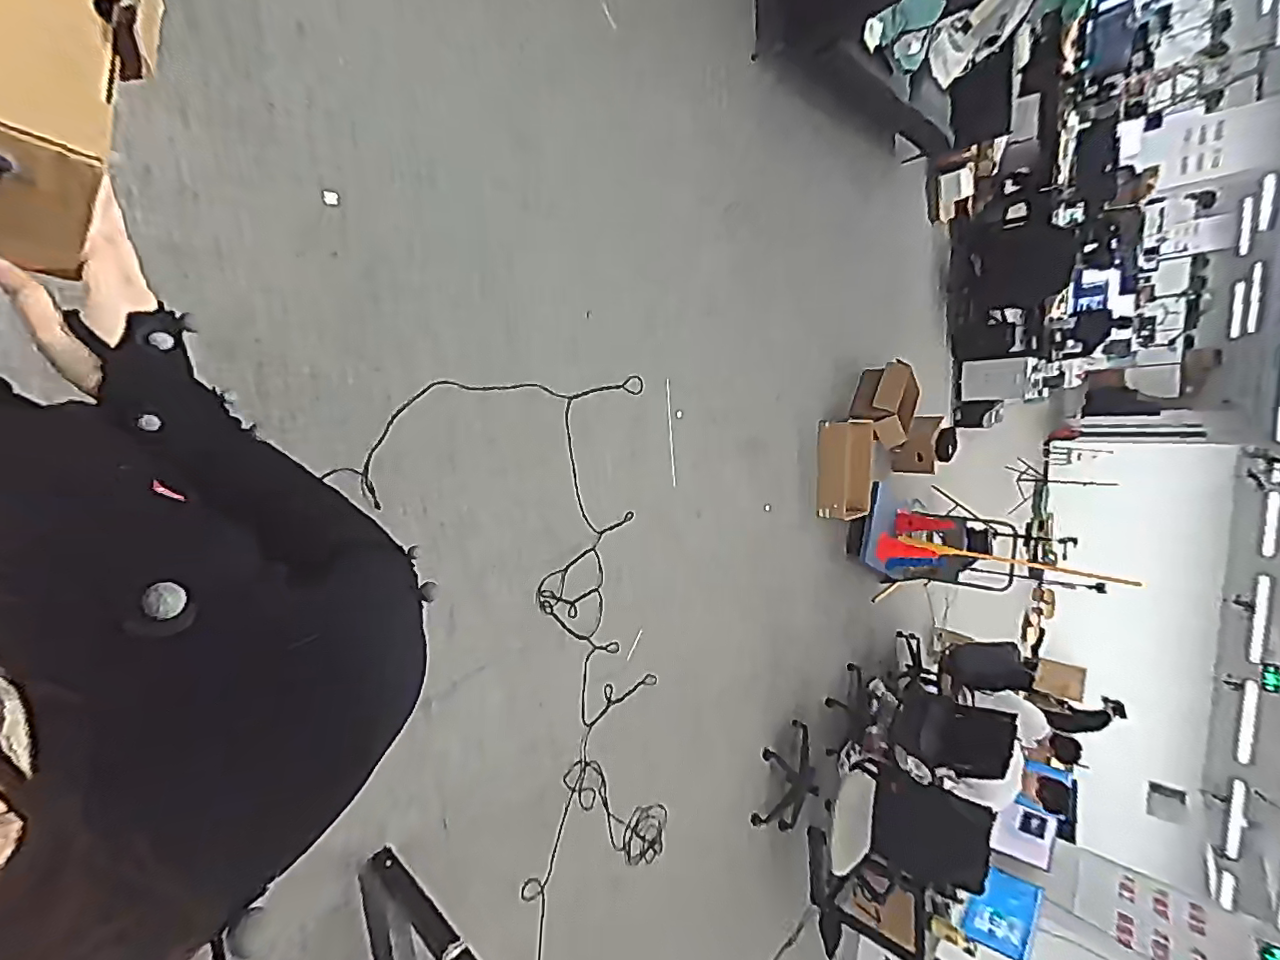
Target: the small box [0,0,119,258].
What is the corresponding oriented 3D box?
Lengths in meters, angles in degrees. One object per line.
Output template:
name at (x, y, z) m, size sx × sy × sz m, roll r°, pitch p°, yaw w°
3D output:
small box at (-0.378, -0.233, 0.255) m, size 0.179 × 0.176 × 0.168 m, roll 7°, pitch 78°, yaw -50°
